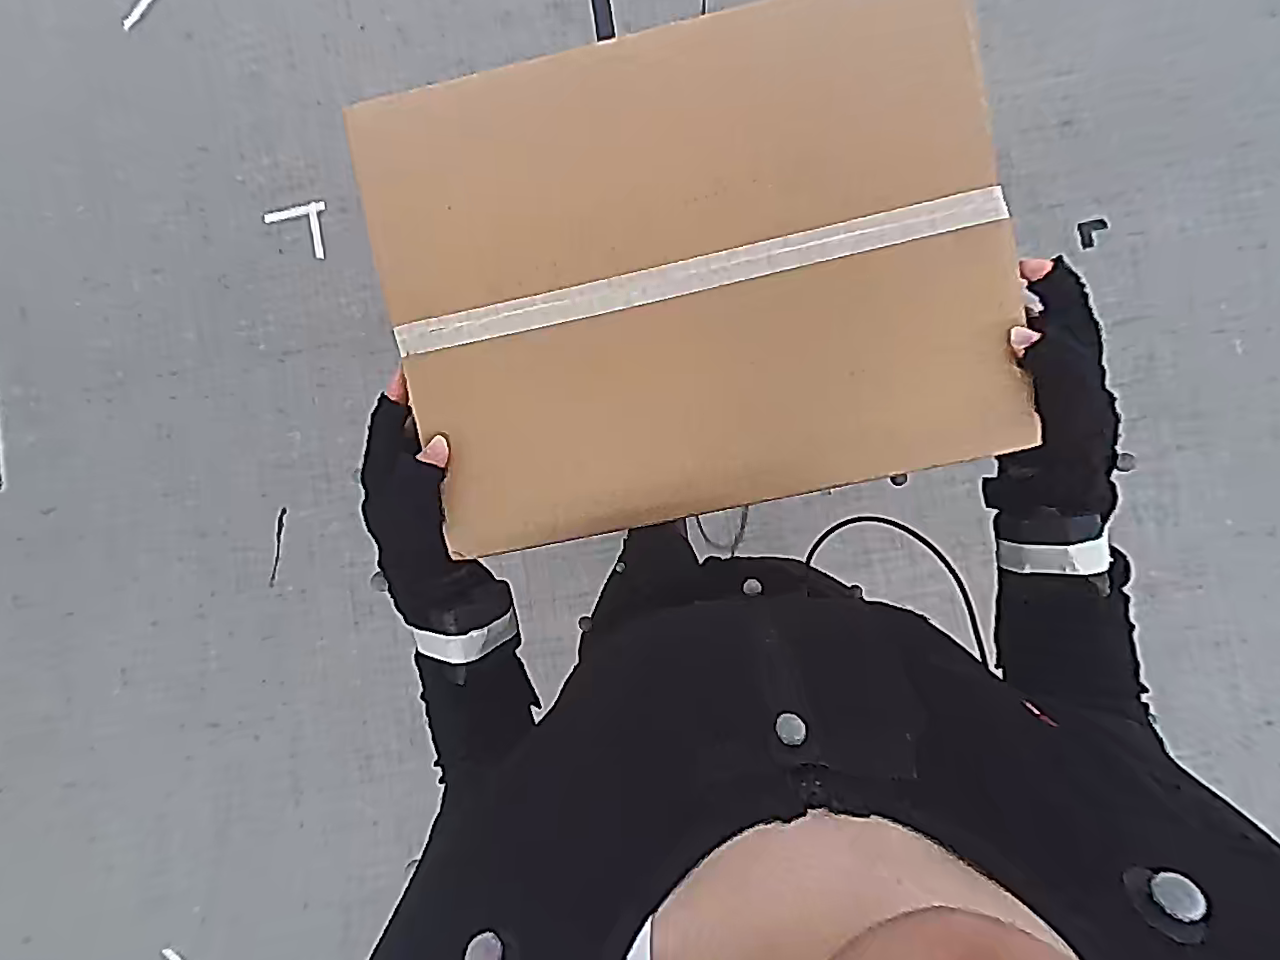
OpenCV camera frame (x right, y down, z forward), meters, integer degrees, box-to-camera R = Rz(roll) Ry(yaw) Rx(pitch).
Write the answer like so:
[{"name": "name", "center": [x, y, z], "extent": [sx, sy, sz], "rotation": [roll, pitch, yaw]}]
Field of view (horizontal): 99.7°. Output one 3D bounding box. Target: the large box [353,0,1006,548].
[{"name": "large box", "center": [0.035, -0.154, 0.516], "extent": [0.408, 0.320, 0.320], "rotation": [-12, 94, 4]}]
